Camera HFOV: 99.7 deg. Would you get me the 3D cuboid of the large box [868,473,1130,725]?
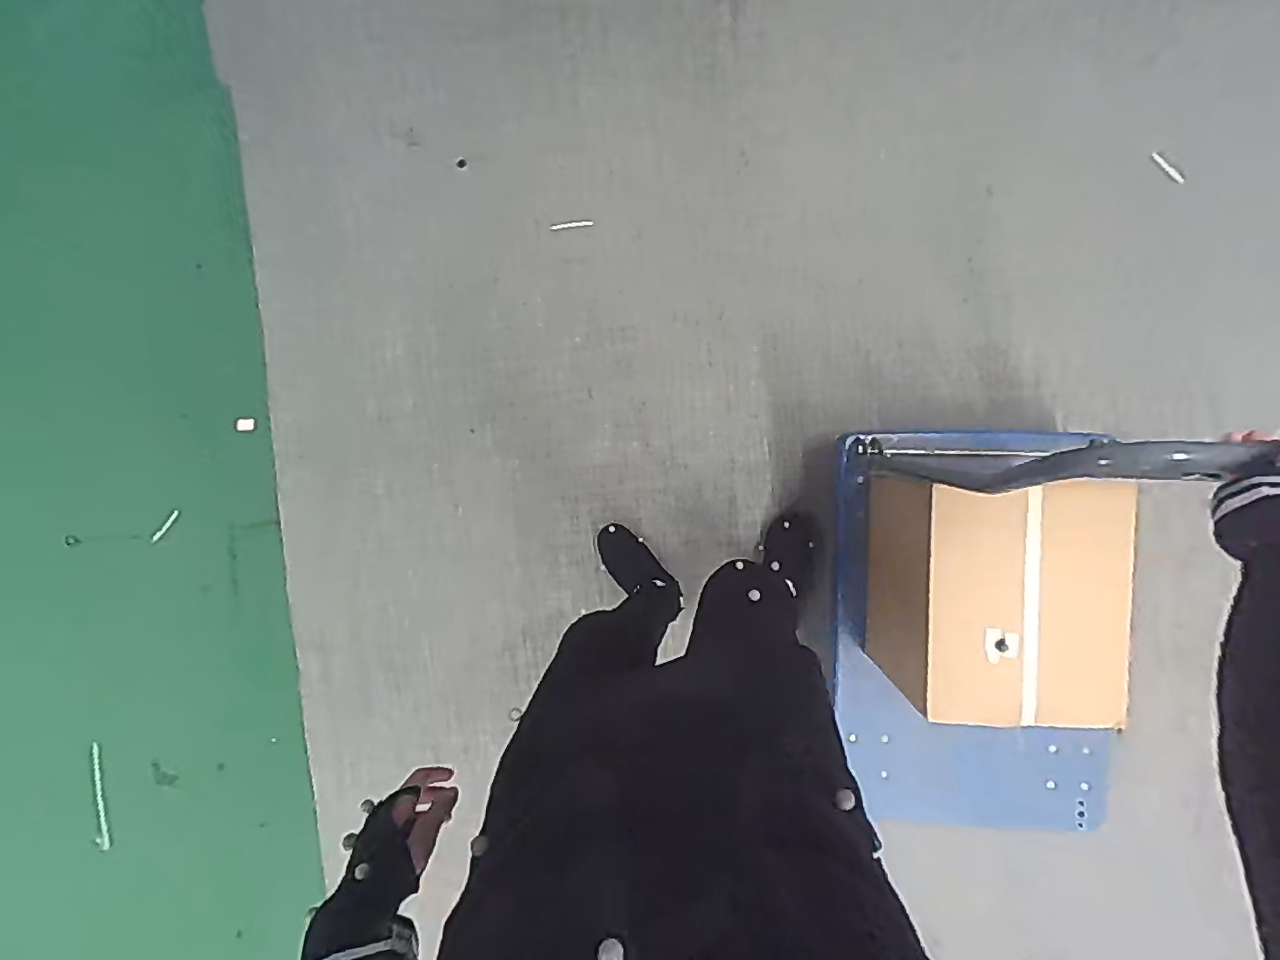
[{"bbox_3d":[0.642,0.195,1.030,0.320,0.320,0.408,0,93,5],"label":"large box"}]
